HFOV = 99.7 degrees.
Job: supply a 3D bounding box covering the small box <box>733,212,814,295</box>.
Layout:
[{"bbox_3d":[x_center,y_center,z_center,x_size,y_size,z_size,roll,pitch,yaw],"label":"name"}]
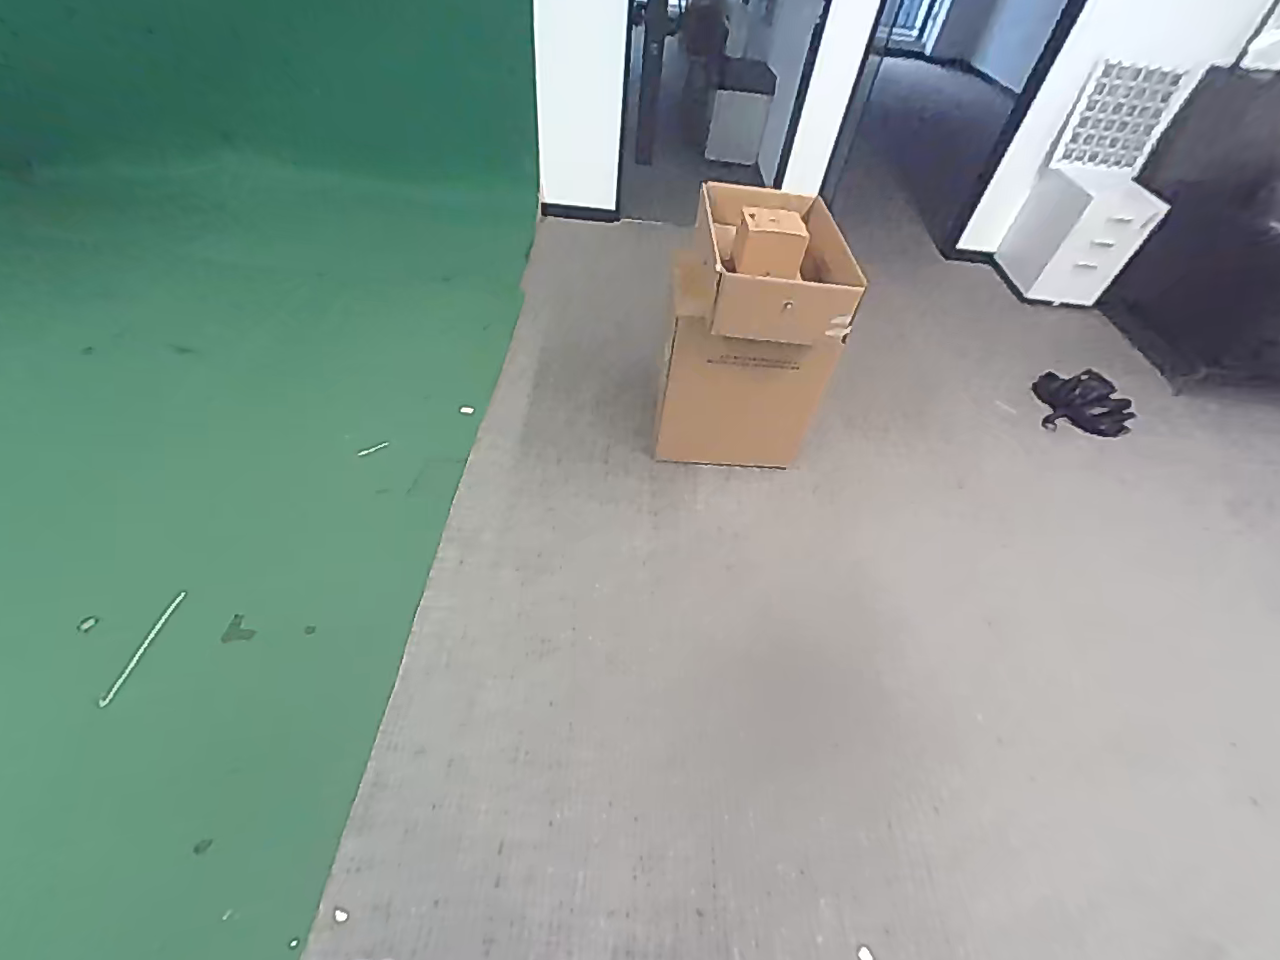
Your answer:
[{"bbox_3d":[0.391,-0.672,1.612,0.179,0.176,0.168,5,46,-5],"label":"small box"}]
